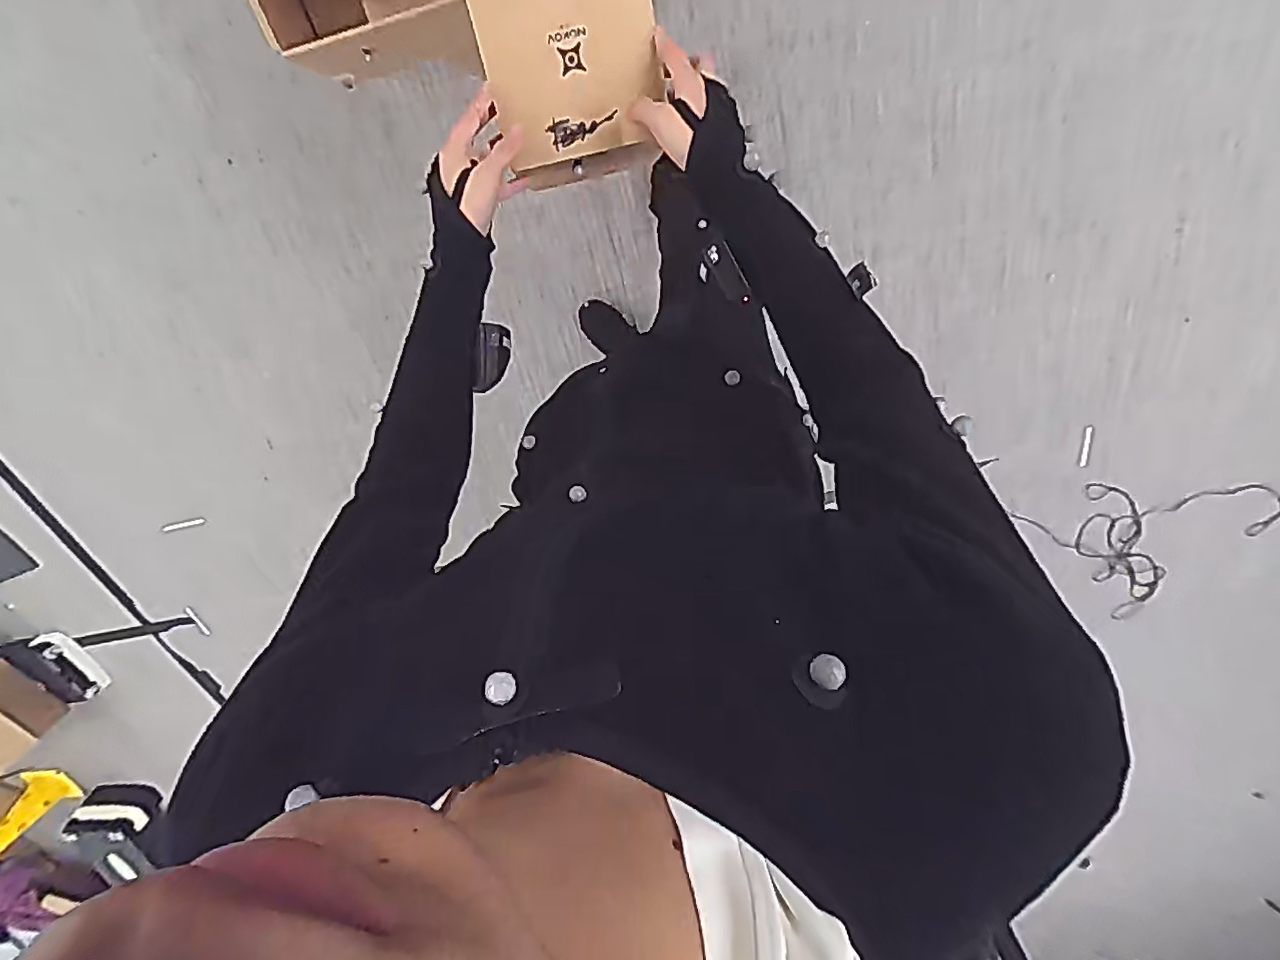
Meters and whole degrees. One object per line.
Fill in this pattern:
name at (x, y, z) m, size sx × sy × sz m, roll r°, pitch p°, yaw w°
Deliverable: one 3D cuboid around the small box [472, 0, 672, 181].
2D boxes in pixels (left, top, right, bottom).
small box at (-0.070, -0.437, 0.569) m, size 0.168 × 0.176 × 0.179 m, roll -12°, pitch 112°, yaw 1°
